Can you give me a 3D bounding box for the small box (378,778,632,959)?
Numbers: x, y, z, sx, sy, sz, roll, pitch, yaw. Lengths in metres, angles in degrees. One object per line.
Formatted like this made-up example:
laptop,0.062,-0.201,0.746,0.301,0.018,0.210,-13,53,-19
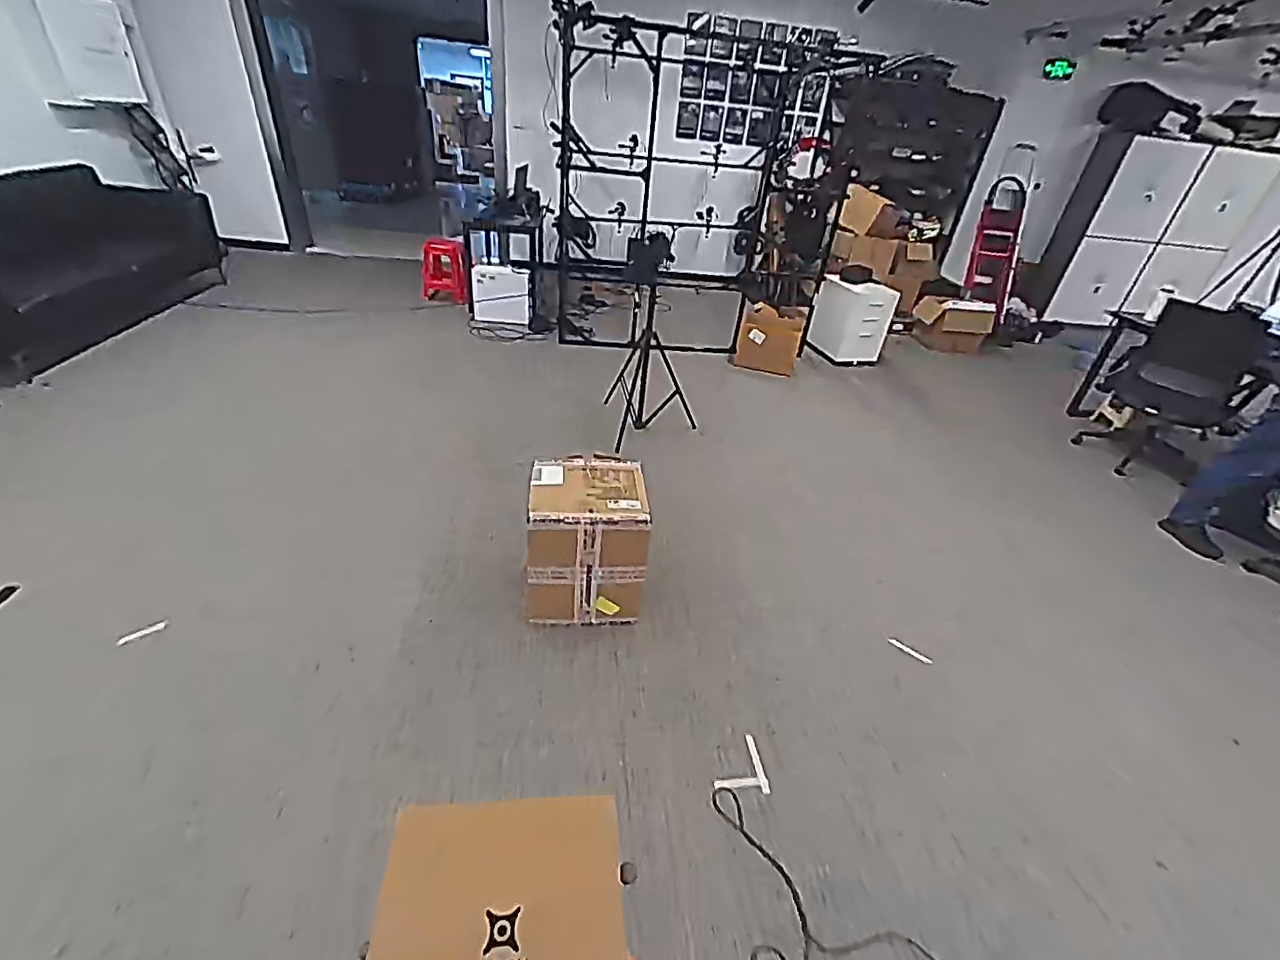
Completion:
small box,-0.098,0.359,0.420,0.168,0.176,0.179,1,43,-8
